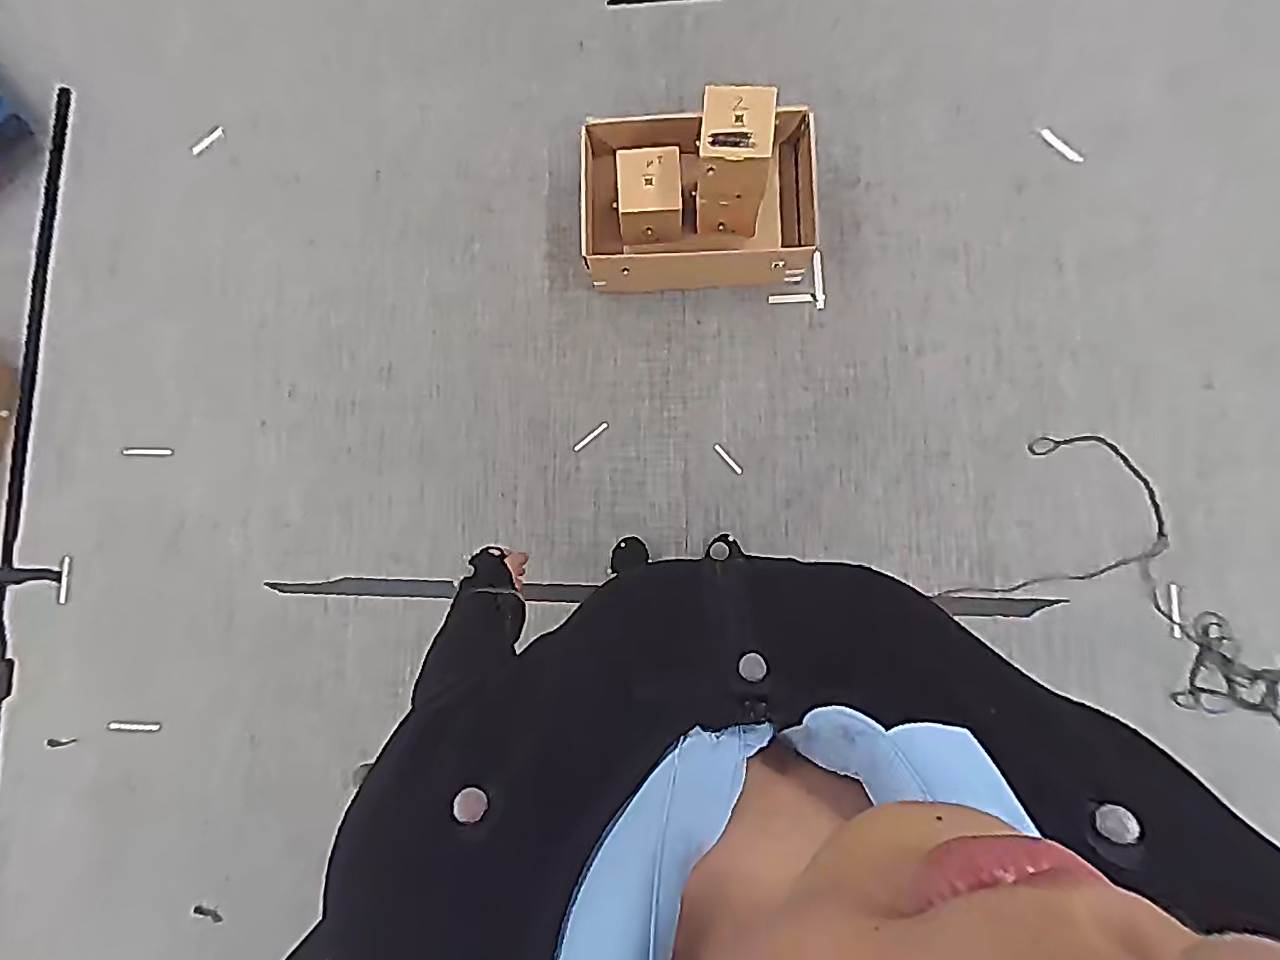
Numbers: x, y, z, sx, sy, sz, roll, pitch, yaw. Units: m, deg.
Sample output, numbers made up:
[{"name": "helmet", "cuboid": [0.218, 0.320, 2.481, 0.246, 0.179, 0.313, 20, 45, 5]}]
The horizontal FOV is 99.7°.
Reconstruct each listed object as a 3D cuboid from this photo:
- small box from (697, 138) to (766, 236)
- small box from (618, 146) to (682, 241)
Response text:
[{"name": "small box", "cuboid": [0.244, -0.793, 1.472, 0.168, 0.176, 0.179, 3, 86, 6]}, {"name": "small box", "cuboid": [0.028, -0.772, 1.479, 0.168, 0.176, 0.179, -3, 84, 1]}]
